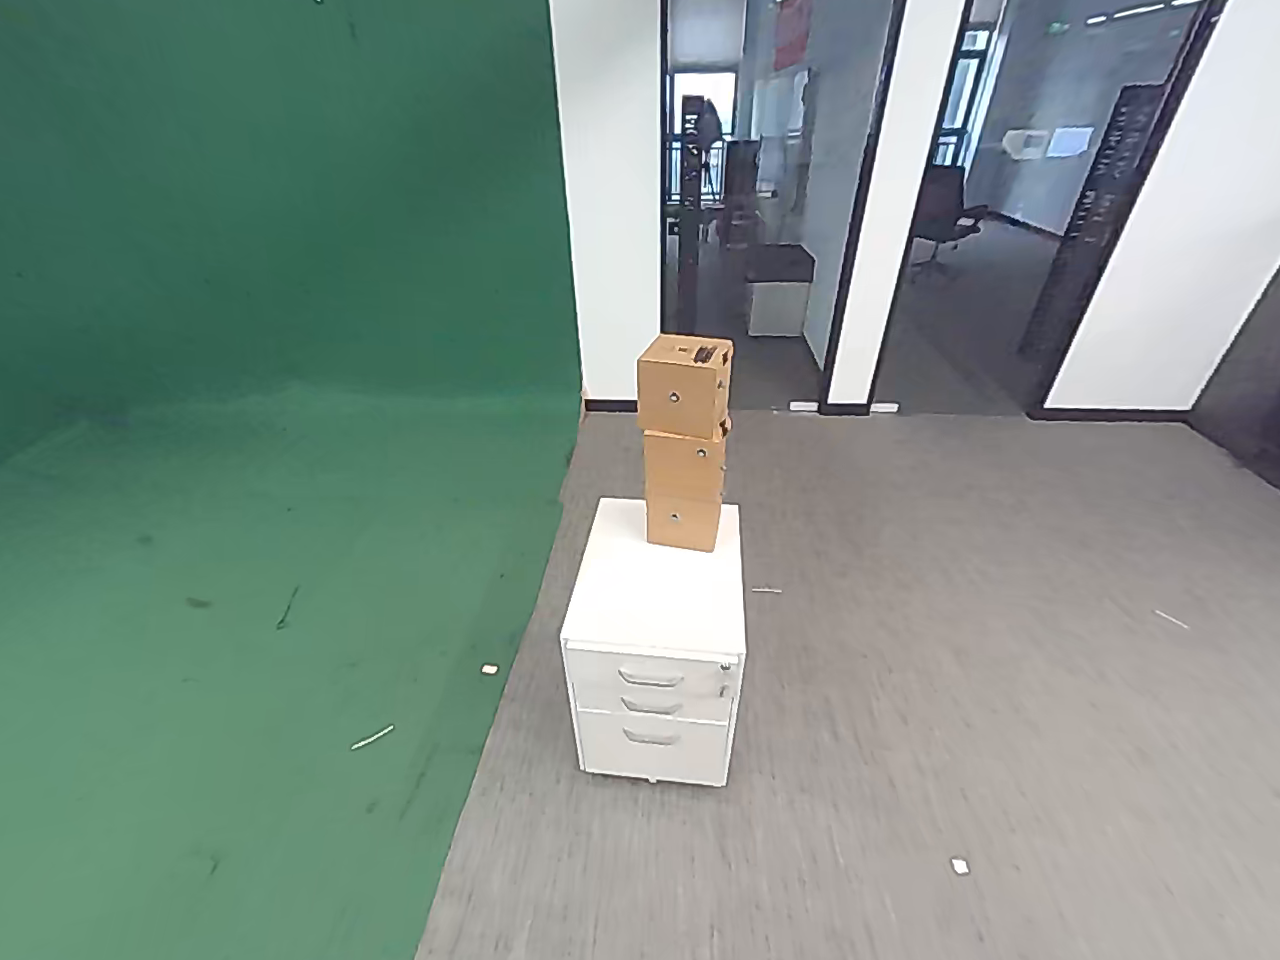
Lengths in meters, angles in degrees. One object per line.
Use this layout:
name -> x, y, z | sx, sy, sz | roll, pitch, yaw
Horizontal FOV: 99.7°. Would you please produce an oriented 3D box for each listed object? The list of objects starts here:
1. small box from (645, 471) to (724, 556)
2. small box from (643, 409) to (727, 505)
small box -> 0.117, 0.077, 1.400 | 0.179, 0.176, 0.168 | 7, 36, 12
small box -> 0.110, -0.055, 1.307 | 0.179, 0.176, 0.168 | 7, 35, 11
